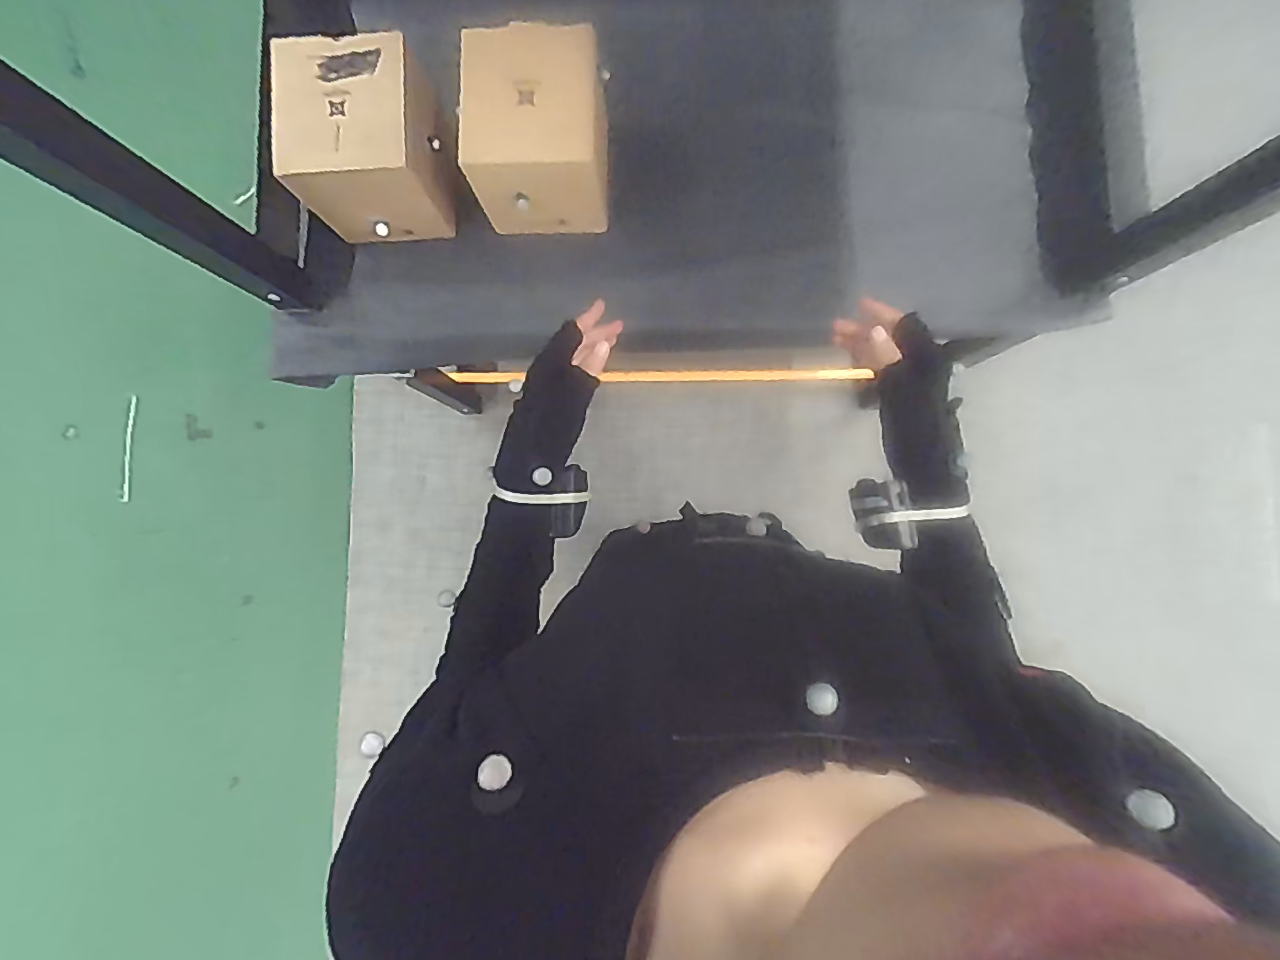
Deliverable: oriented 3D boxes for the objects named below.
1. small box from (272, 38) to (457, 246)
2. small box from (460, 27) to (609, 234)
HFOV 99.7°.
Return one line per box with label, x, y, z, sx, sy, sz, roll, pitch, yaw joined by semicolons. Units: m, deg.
small box;-0.358;-0.444;0.732;0.168;0.176;0.179;-2;85;2
small box;-0.130;-0.452;0.728;0.168;0.176;0.179;0;85;2
